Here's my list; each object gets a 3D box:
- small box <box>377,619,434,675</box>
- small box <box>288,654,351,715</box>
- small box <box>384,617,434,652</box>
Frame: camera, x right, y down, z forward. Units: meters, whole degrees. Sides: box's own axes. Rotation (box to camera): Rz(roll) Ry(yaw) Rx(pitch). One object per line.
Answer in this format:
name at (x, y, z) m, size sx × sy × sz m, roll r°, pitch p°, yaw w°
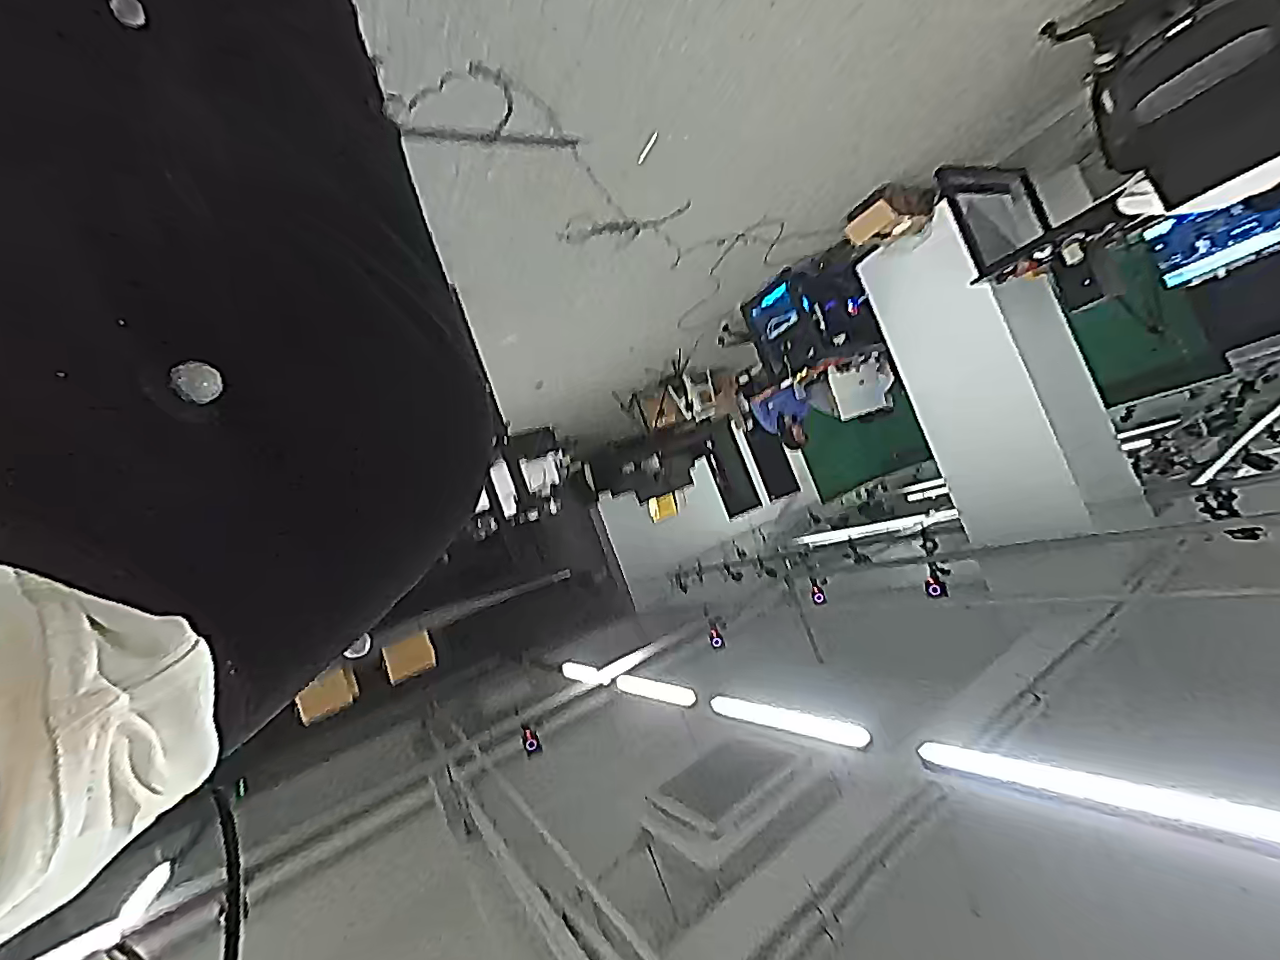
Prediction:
small box at (-1.001, 0.704, 2.294) m, size 0.179 × 0.176 × 0.168 m, roll -19°, pitch 177°, yaw -30°
small box at (-1.259, 0.795, 2.120) m, size 0.168 × 0.176 × 0.179 m, roll -19°, pitch 177°, yaw -38°
small box at (-1.085, 0.752, 2.528) m, size 0.168 × 0.176 × 0.179 m, roll -20°, pitch 177°, yaw -31°
